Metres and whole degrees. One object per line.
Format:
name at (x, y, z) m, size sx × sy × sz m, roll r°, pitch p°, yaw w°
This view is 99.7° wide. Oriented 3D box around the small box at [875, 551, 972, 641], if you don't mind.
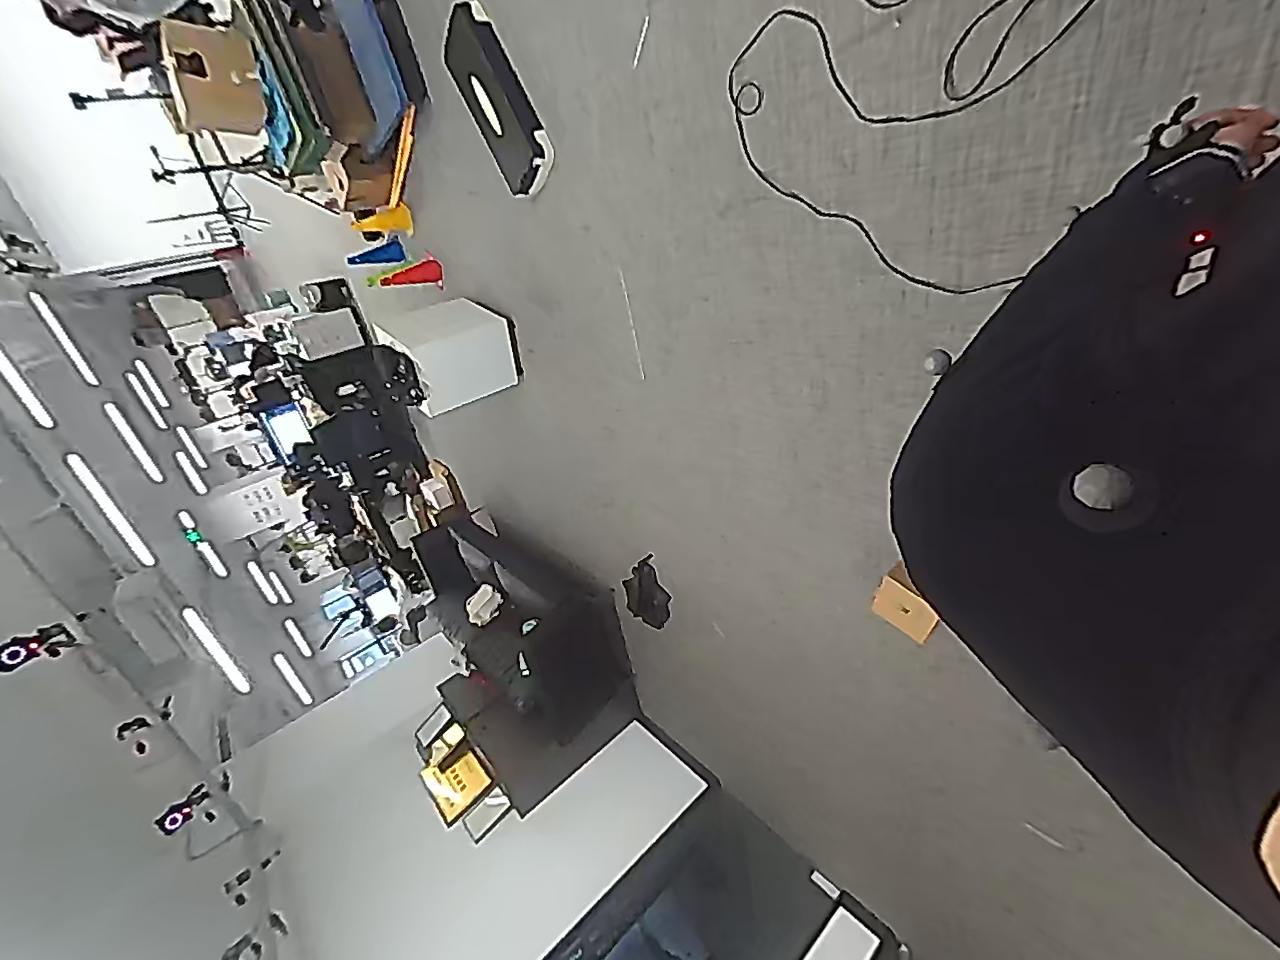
small box at (0.843, 0.336, 1.614) m, size 0.179 × 0.176 × 0.168 m, roll 36°, pitch 142°, yaw 34°
